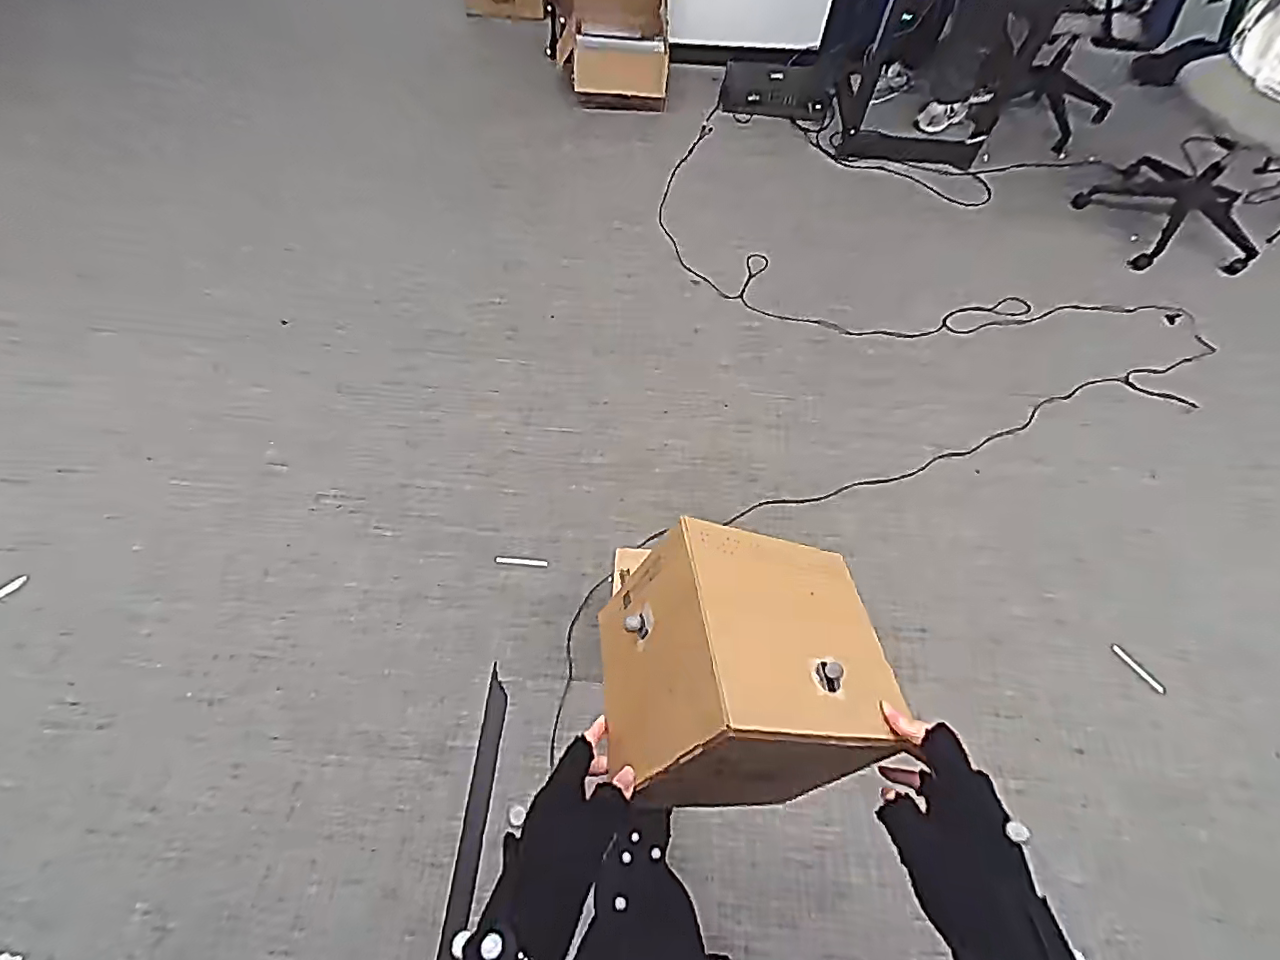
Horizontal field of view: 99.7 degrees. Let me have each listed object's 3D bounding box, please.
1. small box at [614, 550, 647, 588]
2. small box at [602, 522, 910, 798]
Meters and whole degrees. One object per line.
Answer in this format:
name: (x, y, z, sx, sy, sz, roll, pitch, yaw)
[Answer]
small box: (0.030, 0.262, 1.168, 0.179, 0.176, 0.168, 4, 63, 0)
small box: (0.080, 0.157, 0.466, 0.179, 0.168, 0.176, 16, 41, -24)
